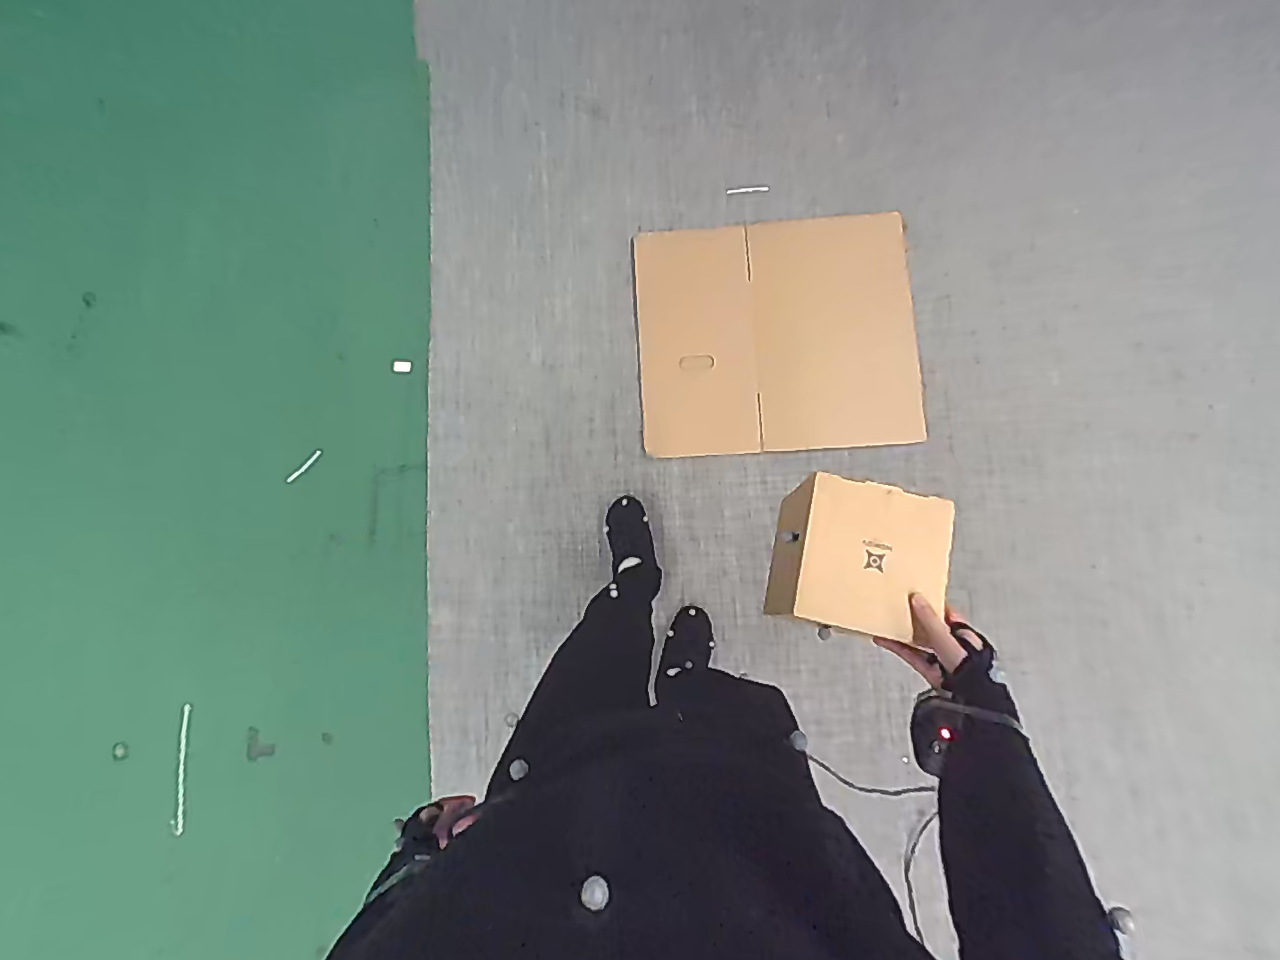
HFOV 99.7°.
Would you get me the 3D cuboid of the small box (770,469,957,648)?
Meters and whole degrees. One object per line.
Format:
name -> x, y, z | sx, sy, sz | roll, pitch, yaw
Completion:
small box -> 0.272, 0.106, 0.693 | 0.168, 0.176, 0.179 | 13, 75, 5
